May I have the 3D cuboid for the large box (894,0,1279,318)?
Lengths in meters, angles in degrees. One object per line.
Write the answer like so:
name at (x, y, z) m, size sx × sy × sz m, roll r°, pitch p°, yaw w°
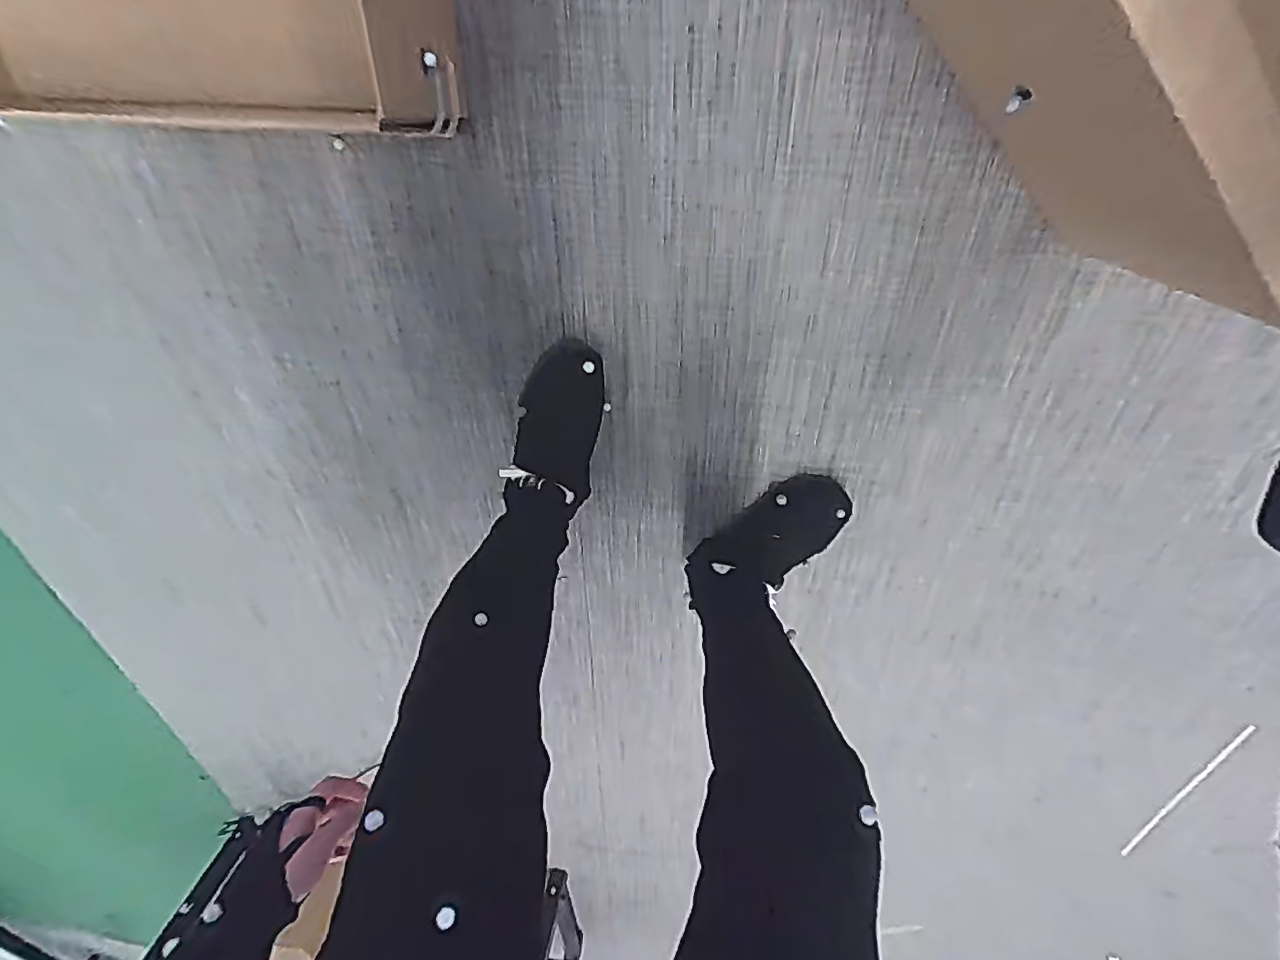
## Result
large box at (0.407, -0.388, 0.355) m, size 0.408 × 0.320 × 0.320 m, roll 42°, pitch 120°, yaw -15°
